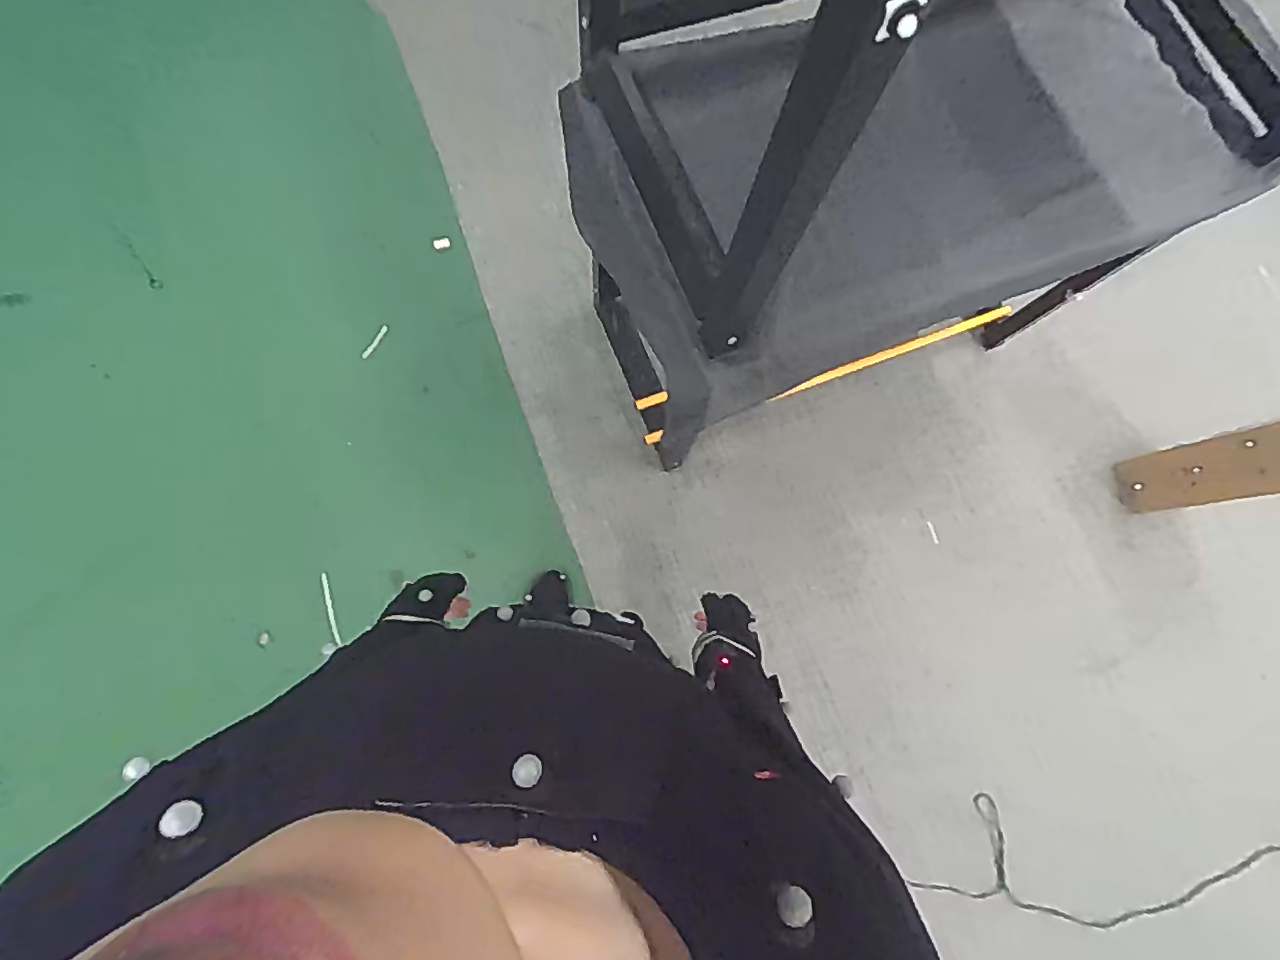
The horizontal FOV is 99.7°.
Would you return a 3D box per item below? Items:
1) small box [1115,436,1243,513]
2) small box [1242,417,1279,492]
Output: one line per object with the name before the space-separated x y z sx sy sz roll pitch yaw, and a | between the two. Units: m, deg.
small box | 1.560 -0.012 1.576 0.179 0.176 0.168 -15 79 -6
small box | 1.580 -0.082 1.258 0.179 0.176 0.168 -17 80 -7
